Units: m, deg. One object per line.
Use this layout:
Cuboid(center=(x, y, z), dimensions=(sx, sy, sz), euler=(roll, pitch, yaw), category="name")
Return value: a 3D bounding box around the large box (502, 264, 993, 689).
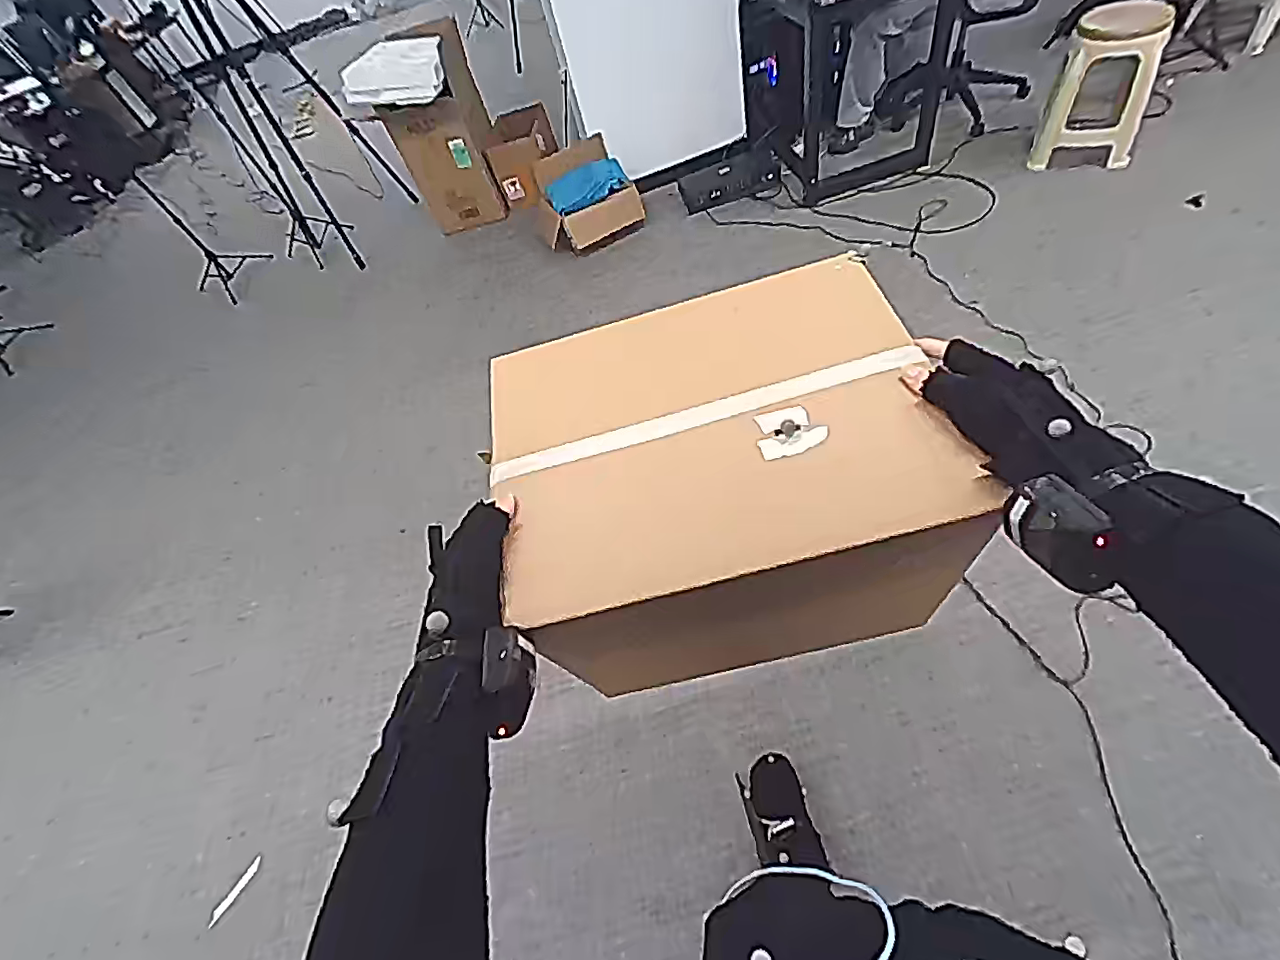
Cuboid(center=(0.090, 0.019, 0.640), dimensions=(0.408, 0.320, 0.320), euler=(-15, 58, 4), category="large box")
